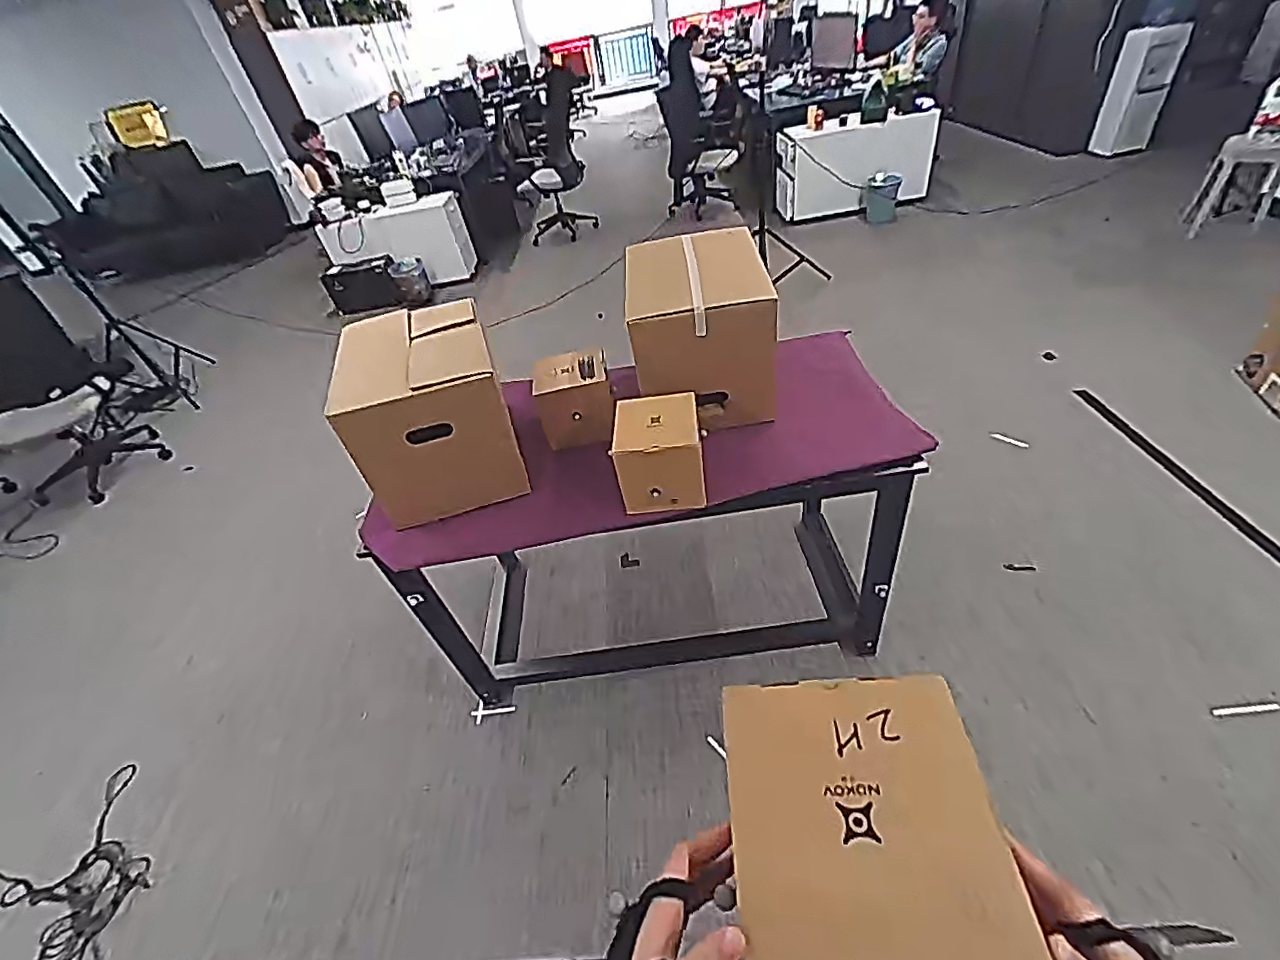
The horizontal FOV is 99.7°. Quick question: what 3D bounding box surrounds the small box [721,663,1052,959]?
[{"bbox_3d":[0.156,0.262,0.403,0.168,0.176,0.179,-7,42,10],"label":"small box"}]
